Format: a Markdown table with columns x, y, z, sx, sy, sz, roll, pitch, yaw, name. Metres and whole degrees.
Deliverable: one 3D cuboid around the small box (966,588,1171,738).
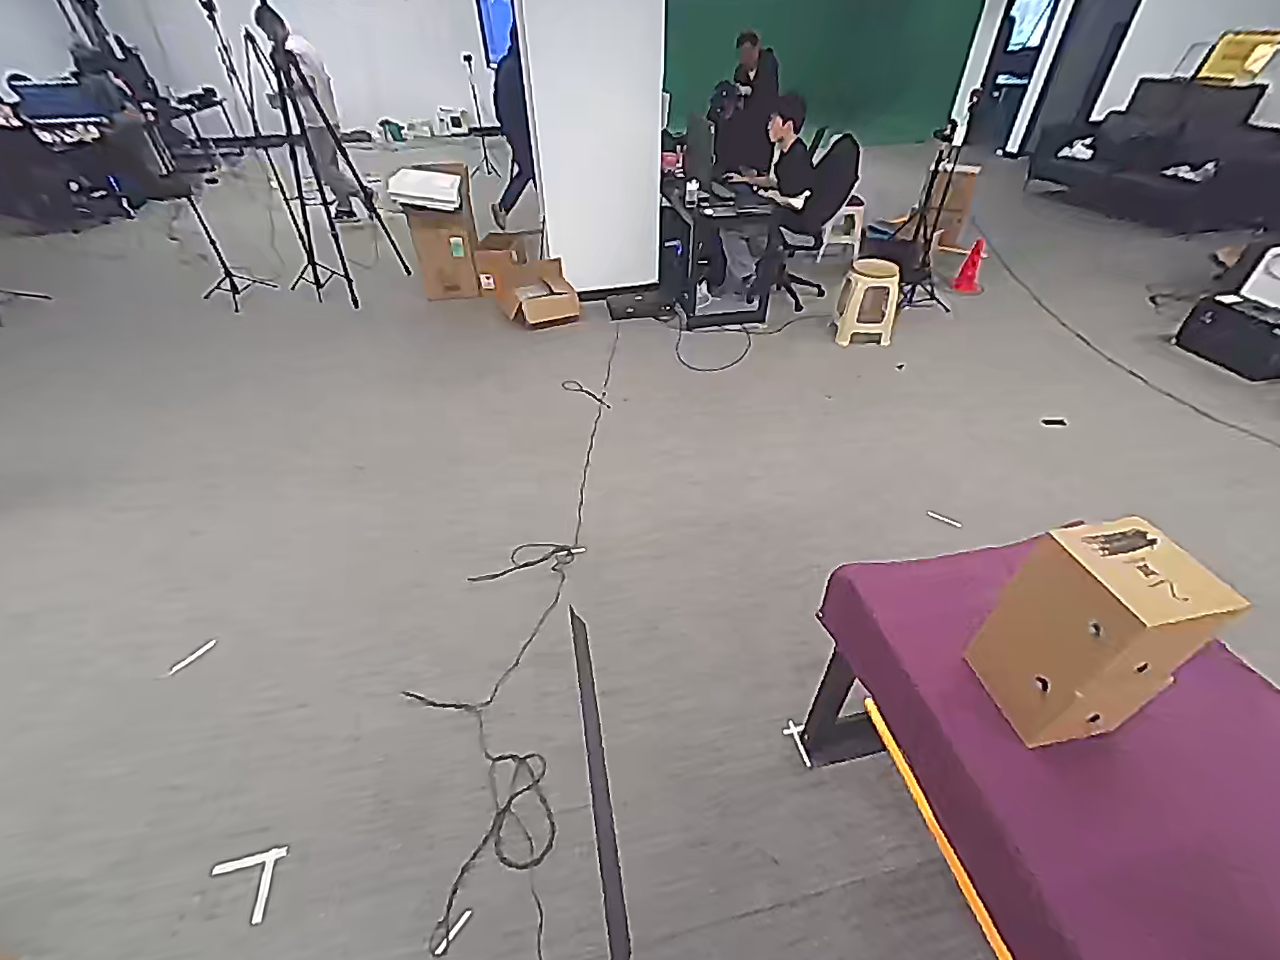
| x | y | z | sx | sy | sz | roll | pitch | yaw | name |
| --- | --- | --- | --- | --- | --- | --- | --- | --- | --- |
| 0.698 | 0.310 | 0.907 | 0.168 | 0.176 | 0.179 | -7 | 41 | -7 | small box |
